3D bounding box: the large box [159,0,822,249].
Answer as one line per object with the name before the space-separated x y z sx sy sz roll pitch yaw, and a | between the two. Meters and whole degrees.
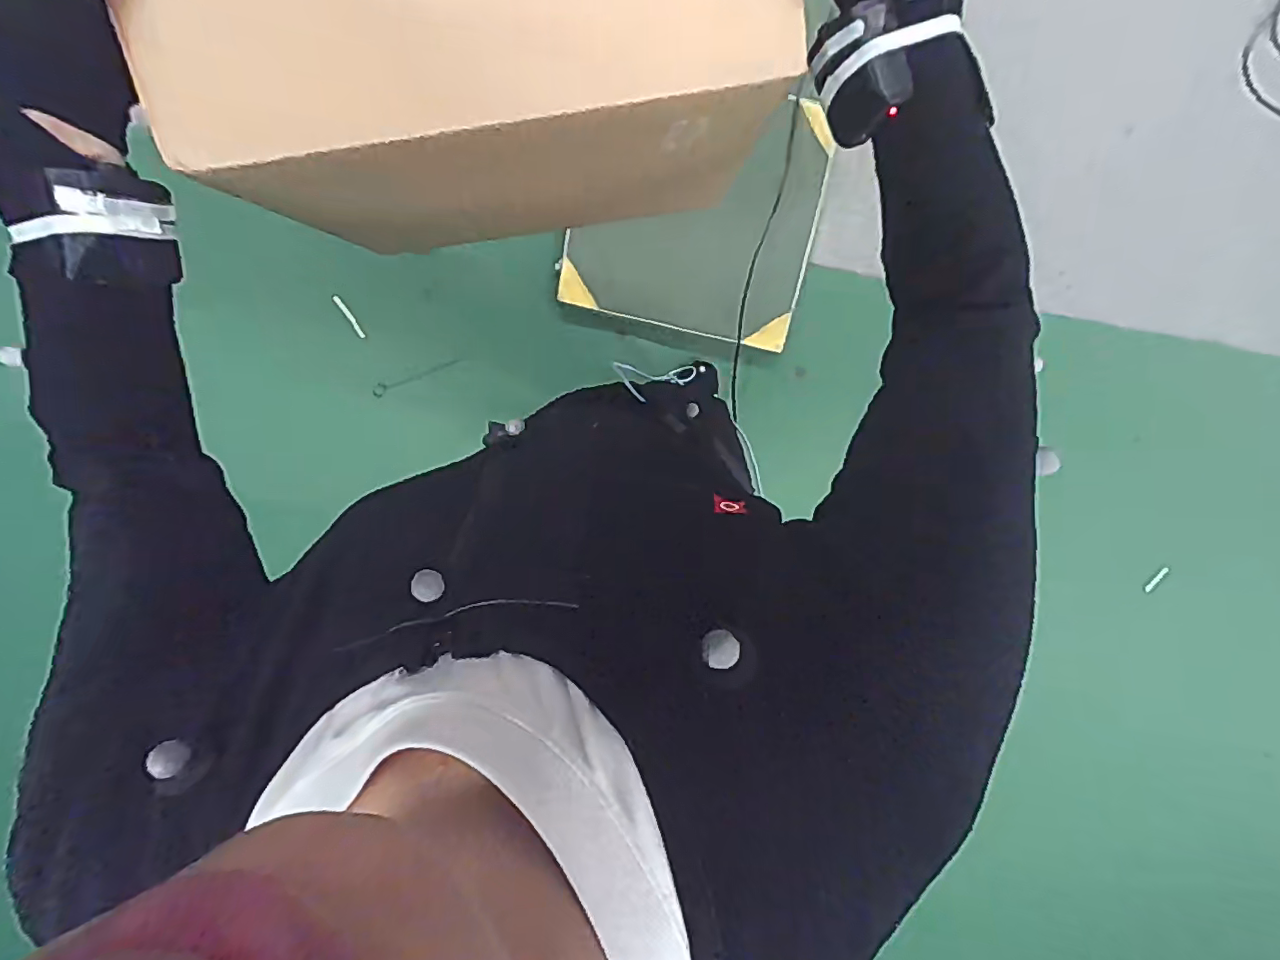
large box | -0.111 -0.413 0.456 0.408 0.320 0.320 -9 104 -2
